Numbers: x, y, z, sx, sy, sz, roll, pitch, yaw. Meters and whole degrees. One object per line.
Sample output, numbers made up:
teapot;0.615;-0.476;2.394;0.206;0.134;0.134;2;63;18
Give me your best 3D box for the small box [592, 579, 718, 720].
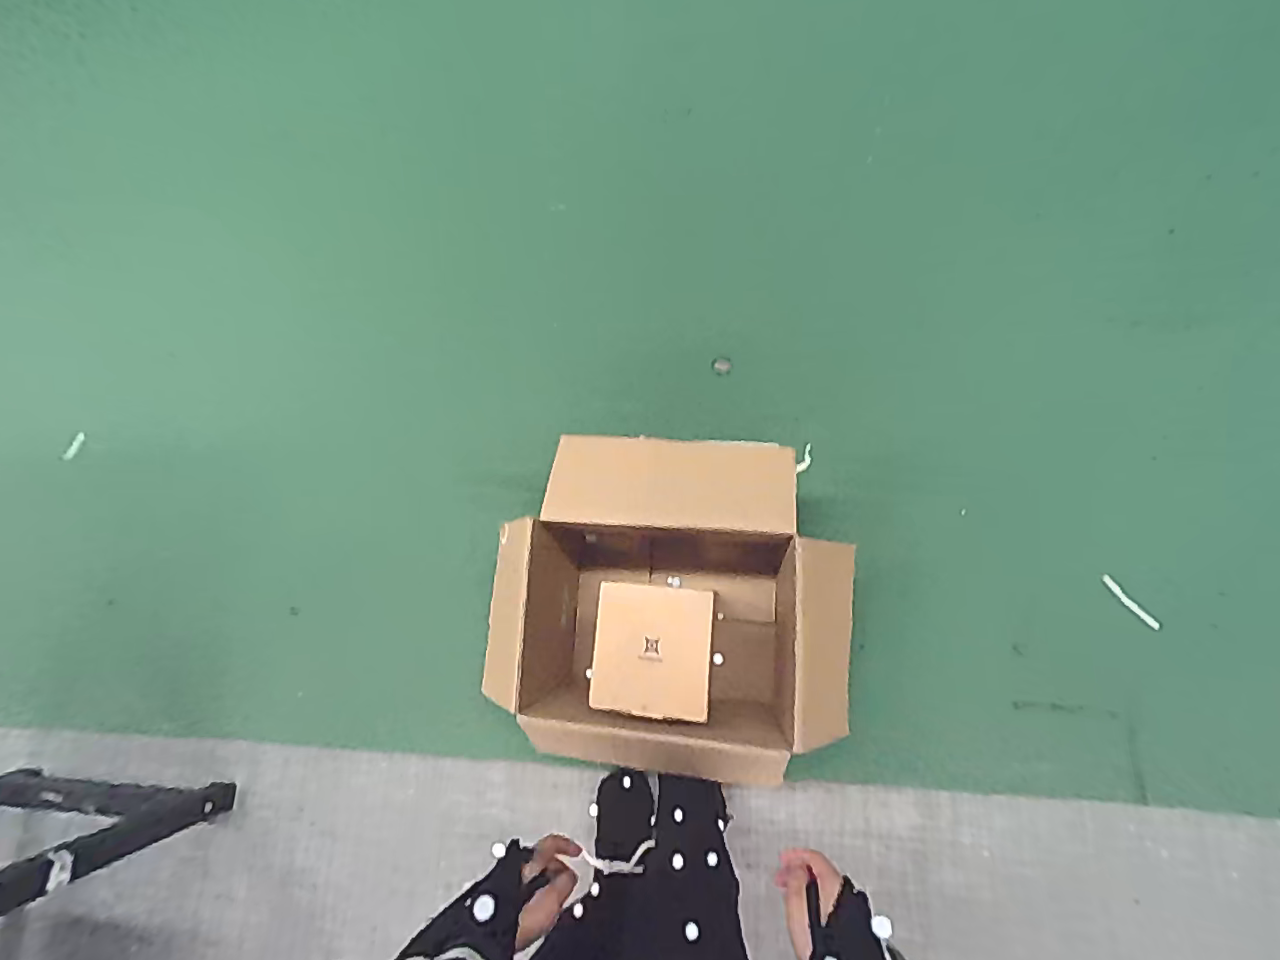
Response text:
small box;0.031;0.250;0.831;0.168;0.176;0.179;3;79;9
